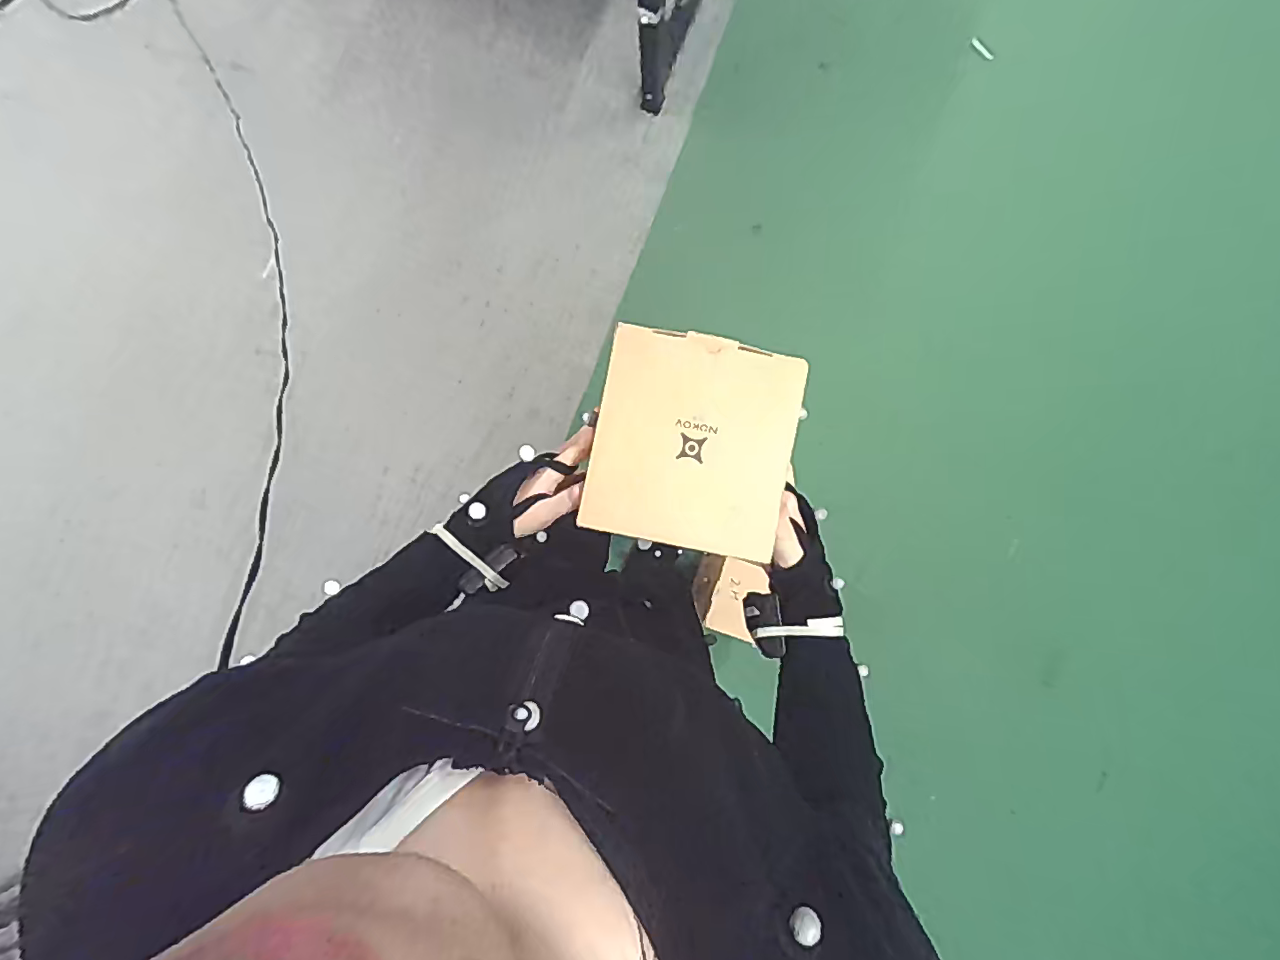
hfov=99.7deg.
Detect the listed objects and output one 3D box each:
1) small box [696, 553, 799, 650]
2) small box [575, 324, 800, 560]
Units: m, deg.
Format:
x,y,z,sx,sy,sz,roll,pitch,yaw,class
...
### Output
x,y,z,sx,sy,sz,roll,pitch,yaw,class
0.242,0.269,1.260,0.179,0.176,0.168,19,89,1,small box
0.040,-0.029,0.532,0.168,0.176,0.179,10,87,0,small box
